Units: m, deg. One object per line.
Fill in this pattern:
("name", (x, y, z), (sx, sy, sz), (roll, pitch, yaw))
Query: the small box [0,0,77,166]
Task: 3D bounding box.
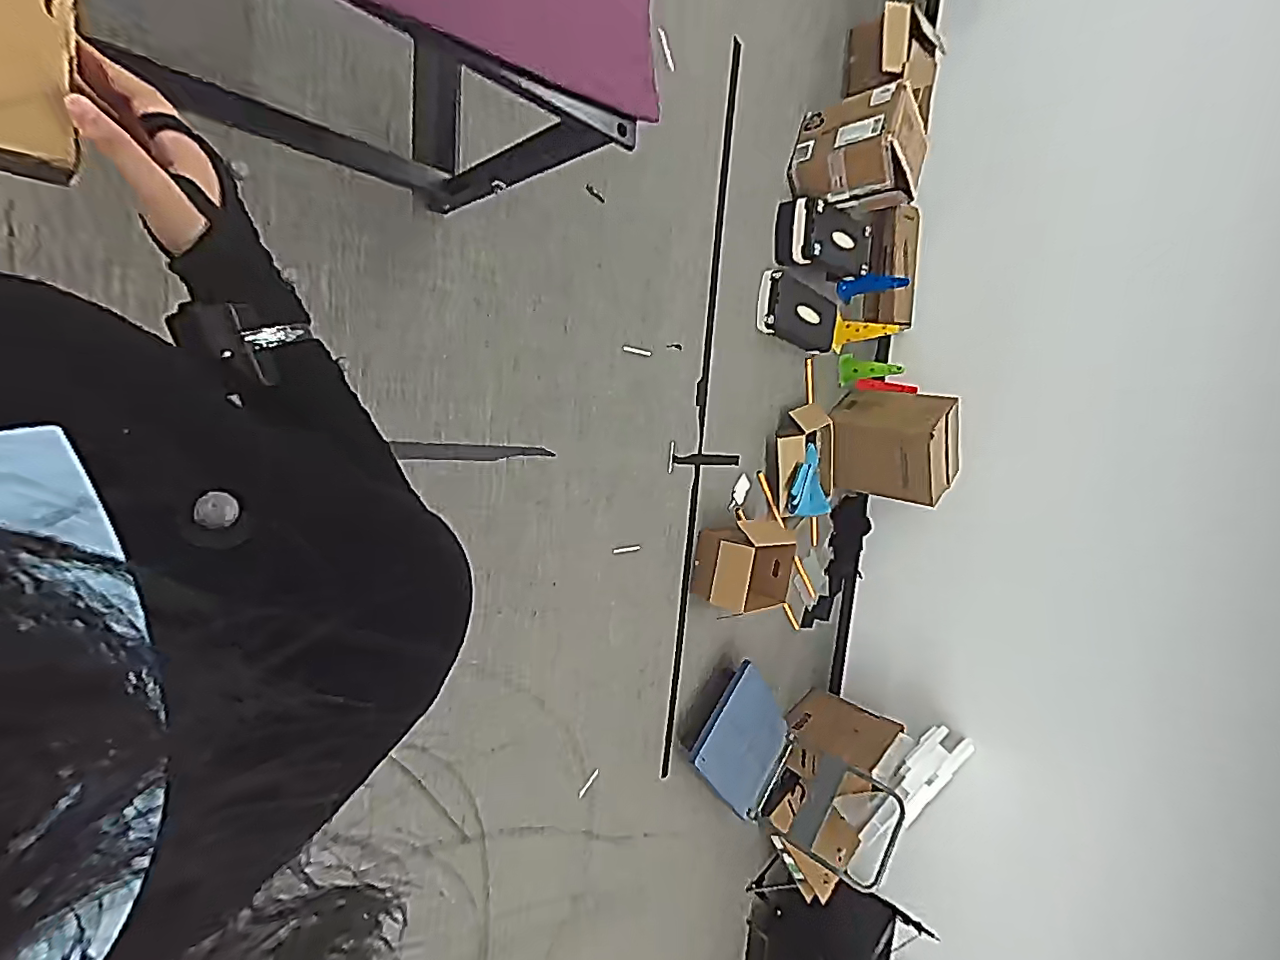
("small box", (-0.438, -0.290, 0.293), (0.179, 0.176, 0.168), (-5, 110, -49))
